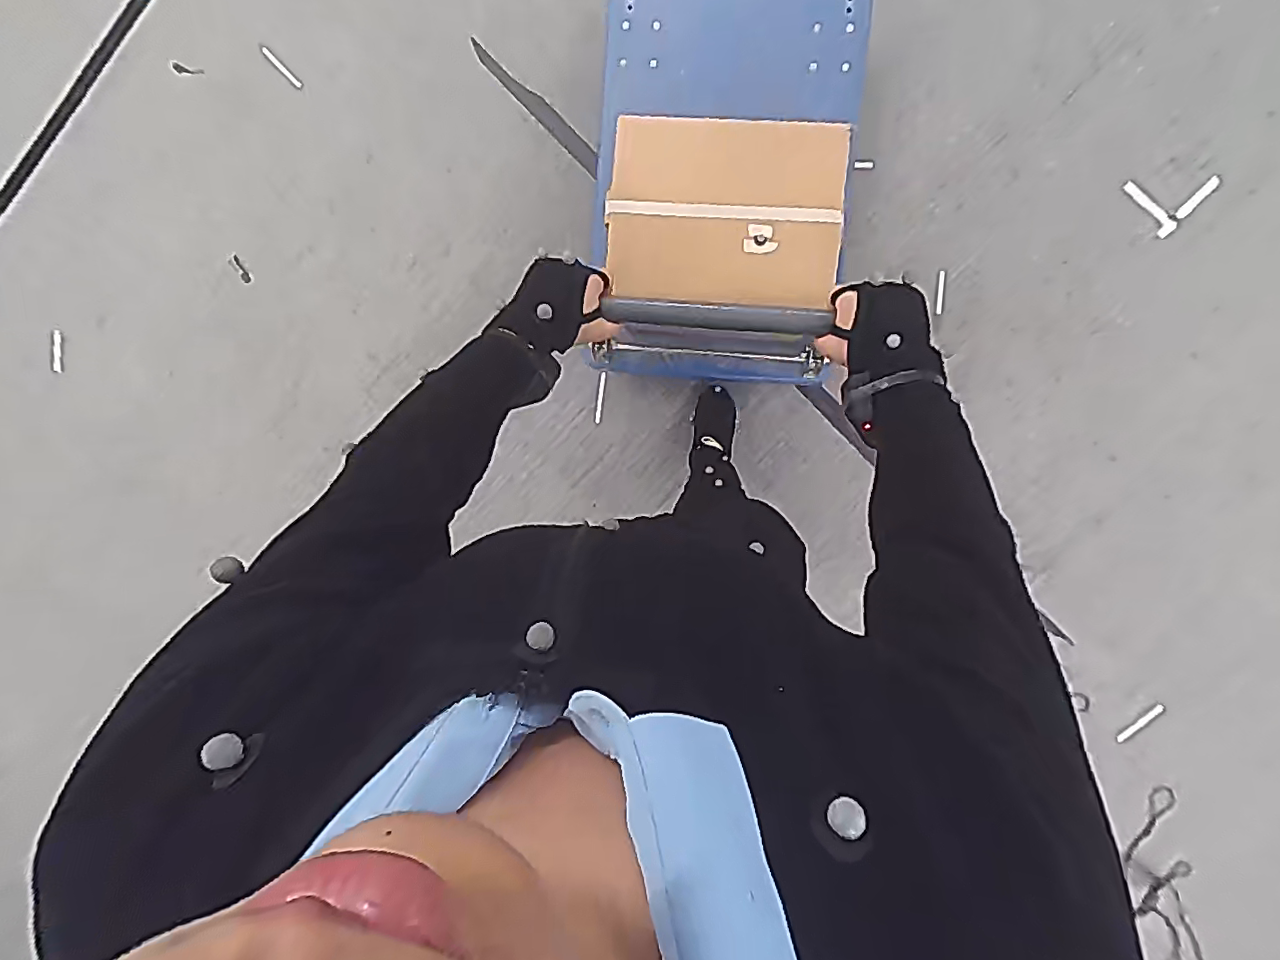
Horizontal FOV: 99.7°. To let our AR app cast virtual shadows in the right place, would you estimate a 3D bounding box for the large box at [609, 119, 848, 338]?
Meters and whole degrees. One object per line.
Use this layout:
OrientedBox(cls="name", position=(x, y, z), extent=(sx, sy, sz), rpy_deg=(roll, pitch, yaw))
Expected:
OrientedBox(cls="large box", position=(0.158, -0.480, 1.099), extent=(0.408, 0.320, 0.320), rpy_deg=(5, 95, 3))
